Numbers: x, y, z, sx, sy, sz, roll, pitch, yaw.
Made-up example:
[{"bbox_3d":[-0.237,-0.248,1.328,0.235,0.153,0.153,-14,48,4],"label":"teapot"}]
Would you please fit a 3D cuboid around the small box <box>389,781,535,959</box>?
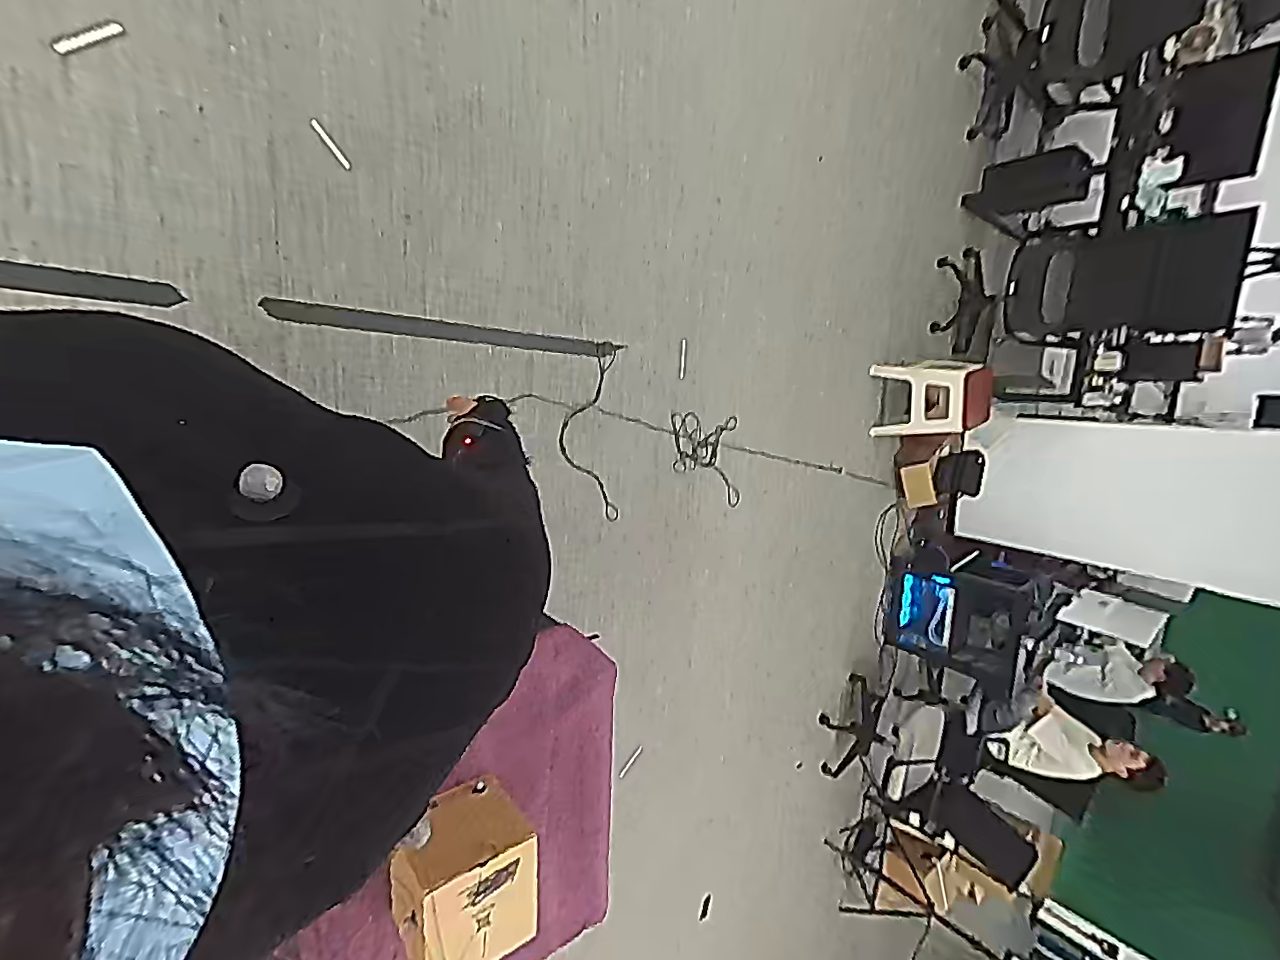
[{"bbox_3d":[-0.273,0.594,0.818,0.168,0.176,0.179,-5,102,-39],"label":"small box"}]
